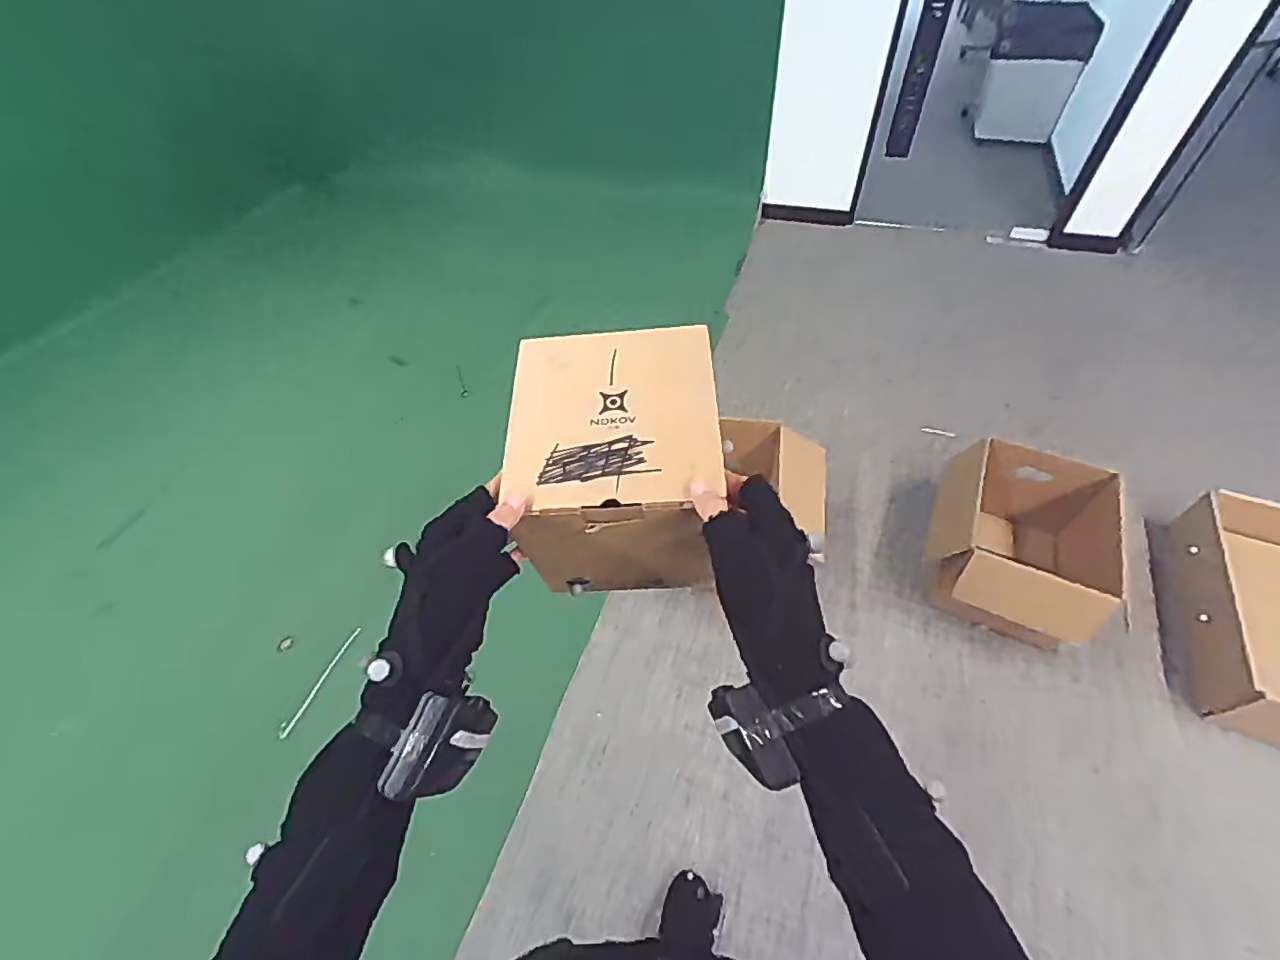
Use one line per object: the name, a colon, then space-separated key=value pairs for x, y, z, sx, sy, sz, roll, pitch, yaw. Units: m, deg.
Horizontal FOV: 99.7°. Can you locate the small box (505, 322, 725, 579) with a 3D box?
small box: x=-0.010 y=-0.016 z=0.497 sx=0.168 sy=0.176 sz=0.179 roll=-4 pitch=58 yaw=5
